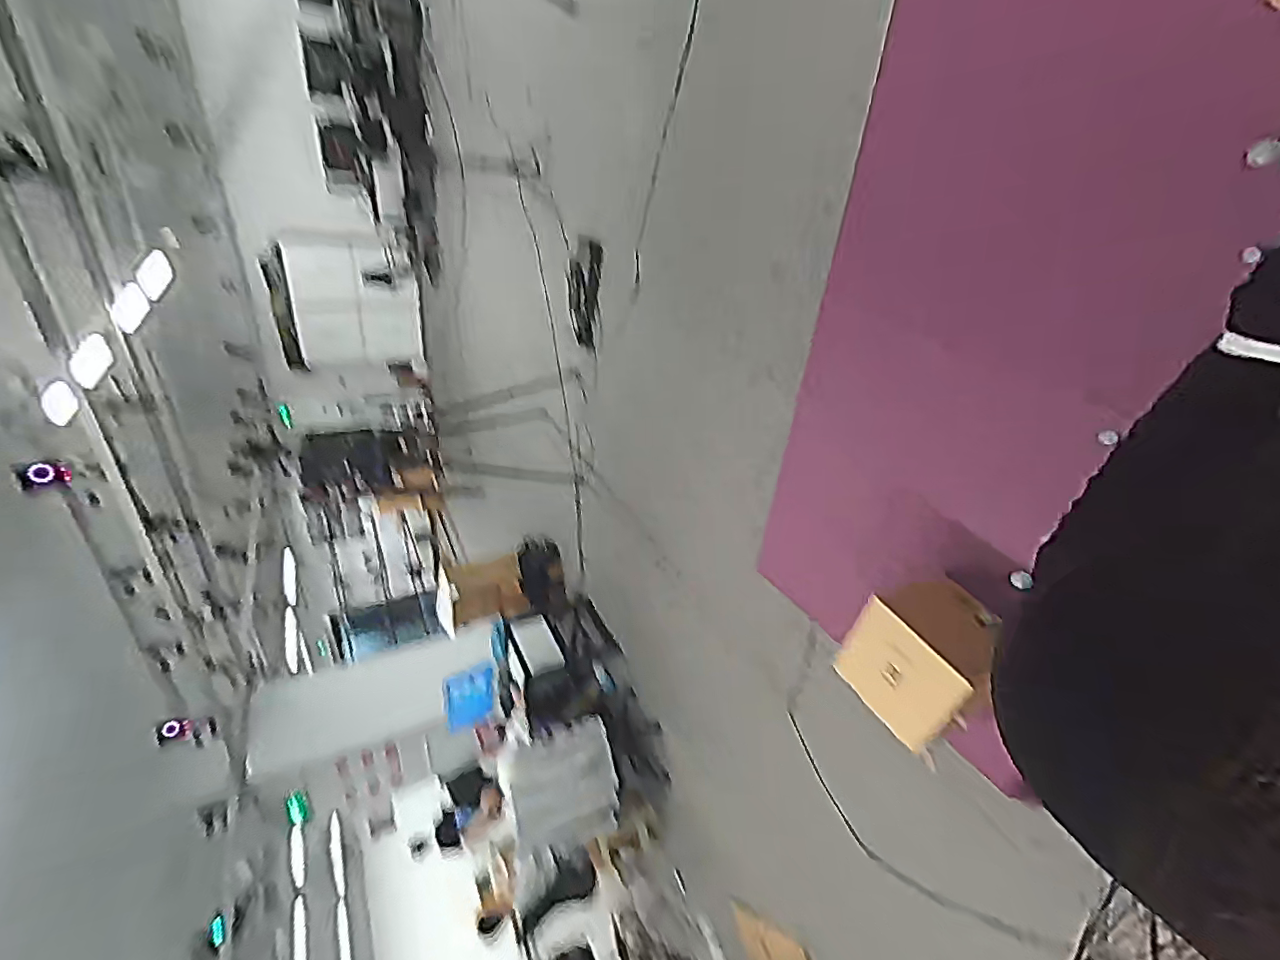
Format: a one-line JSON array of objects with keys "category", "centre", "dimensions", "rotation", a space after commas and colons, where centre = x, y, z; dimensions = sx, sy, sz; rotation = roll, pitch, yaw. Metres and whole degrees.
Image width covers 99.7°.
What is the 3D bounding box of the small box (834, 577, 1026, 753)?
[{"category": "small box", "centre": [0.444, 0.278, 0.838], "dimensions": [0.168, 0.176, 0.179], "rotation": [50, 139, 43]}]
